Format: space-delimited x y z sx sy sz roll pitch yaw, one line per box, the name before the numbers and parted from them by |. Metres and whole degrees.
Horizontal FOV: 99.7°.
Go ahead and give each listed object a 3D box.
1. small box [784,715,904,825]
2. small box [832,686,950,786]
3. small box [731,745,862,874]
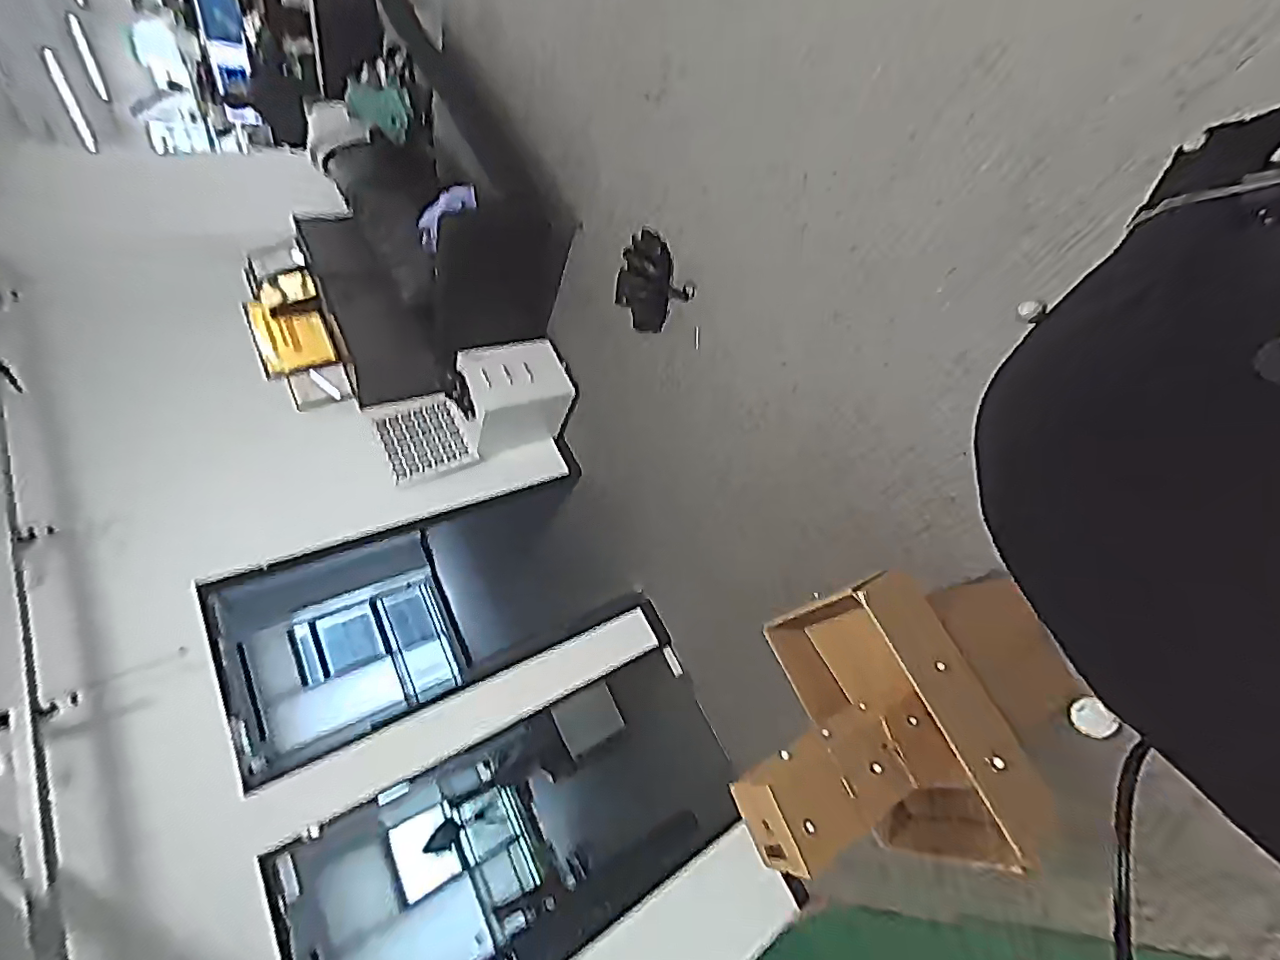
small box | 0.472 0.657 1.242 0.168 0.176 0.179 66 149 16
small box | 0.614 0.615 1.314 0.168 0.176 0.179 66 152 15
small box | 0.335 0.696 1.159 0.179 0.176 0.168 65 149 18
